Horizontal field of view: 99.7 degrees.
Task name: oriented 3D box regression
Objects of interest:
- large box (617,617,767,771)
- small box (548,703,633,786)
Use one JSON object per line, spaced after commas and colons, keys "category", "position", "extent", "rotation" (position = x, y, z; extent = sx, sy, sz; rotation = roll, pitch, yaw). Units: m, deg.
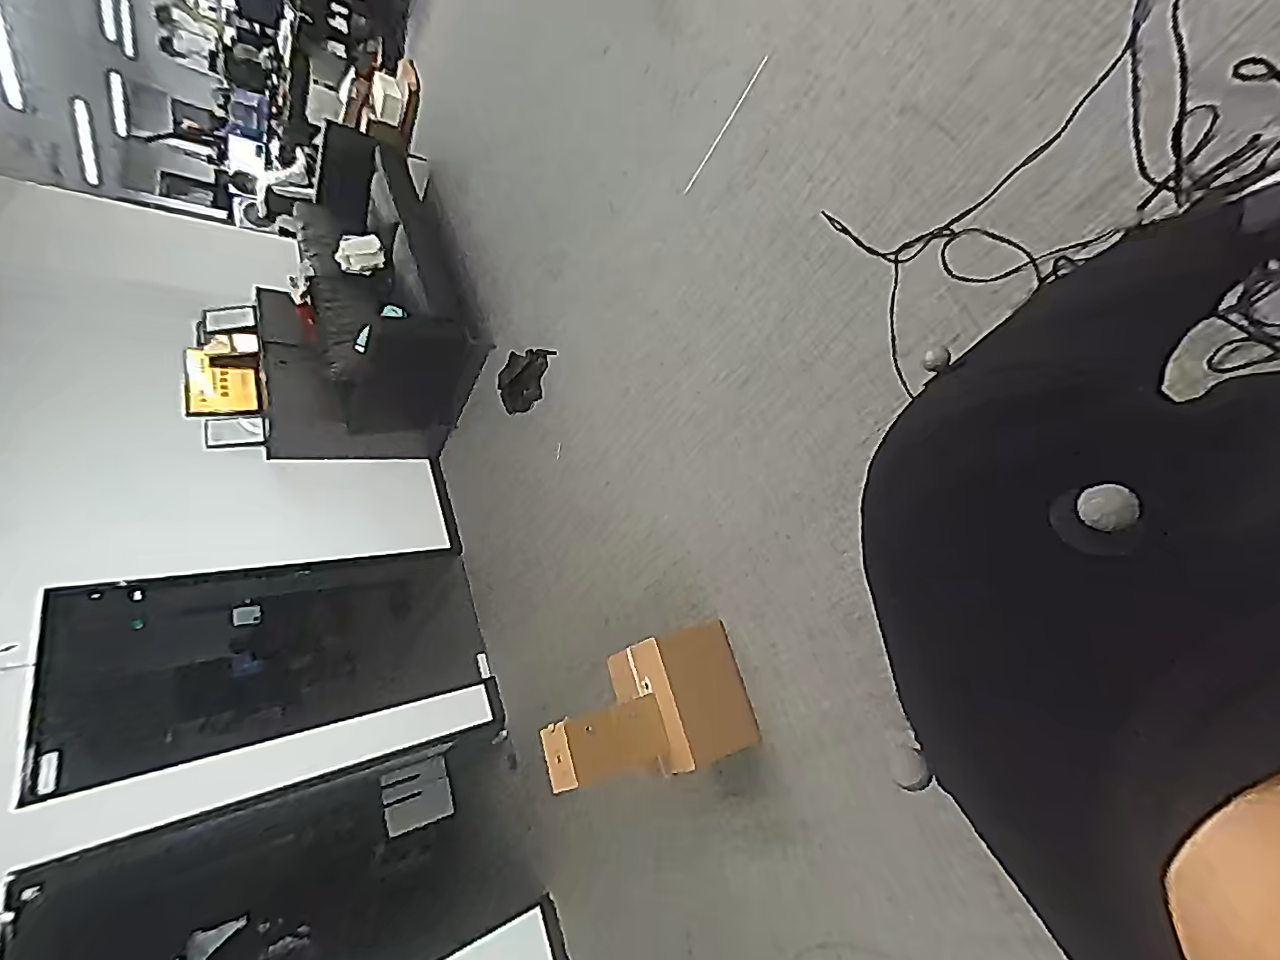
{"category": "large box", "position": [0.170, 0.729, 1.861], "extent": [0.320, 0.320, 0.408], "rotation": [-40, 59, 44]}
{"category": "small box", "position": [-0.146, 0.779, 1.605], "extent": [0.168, 0.176, 0.179], "rotation": [-45, 57, 44]}
